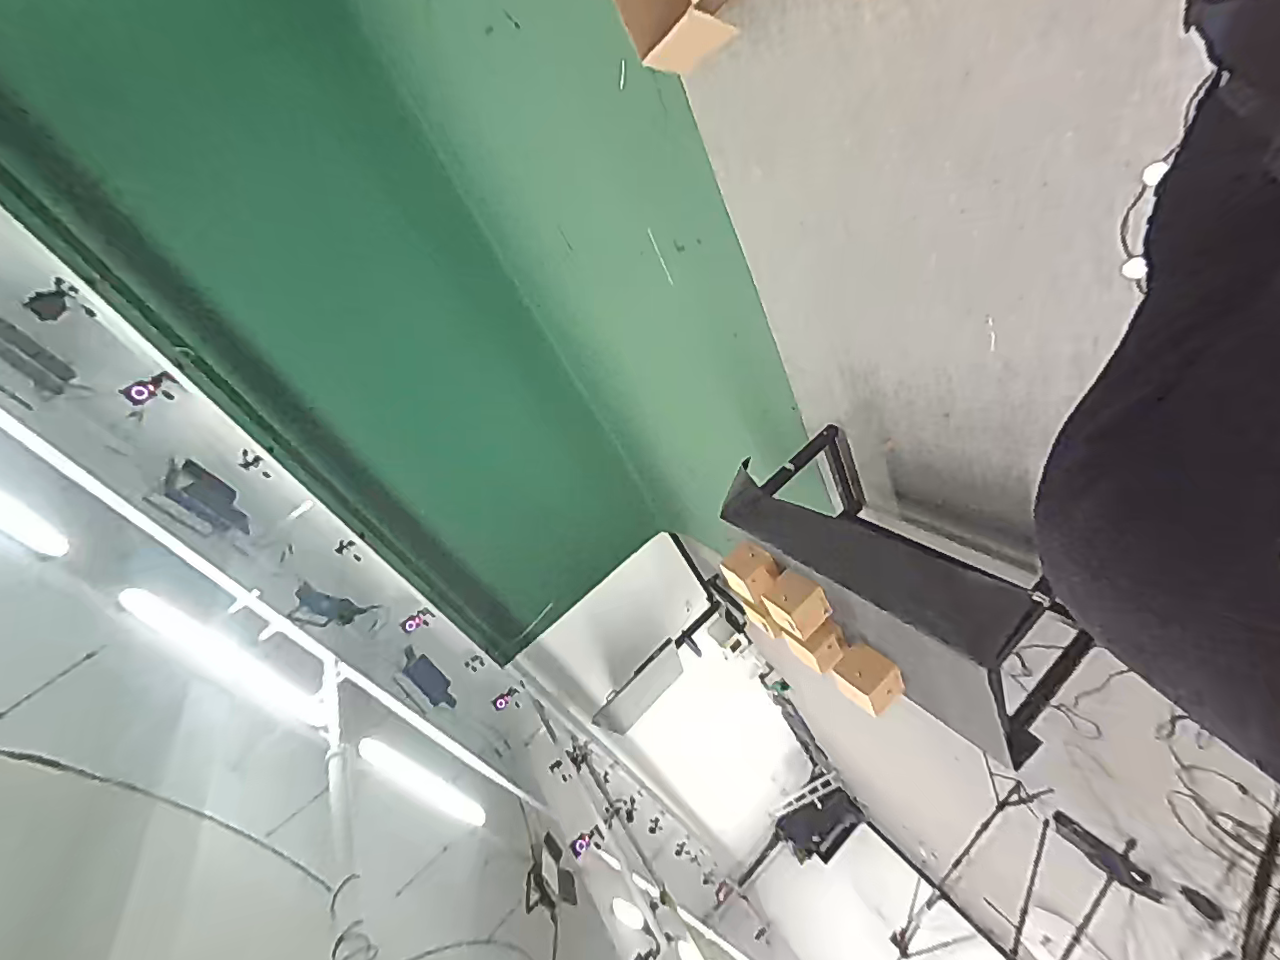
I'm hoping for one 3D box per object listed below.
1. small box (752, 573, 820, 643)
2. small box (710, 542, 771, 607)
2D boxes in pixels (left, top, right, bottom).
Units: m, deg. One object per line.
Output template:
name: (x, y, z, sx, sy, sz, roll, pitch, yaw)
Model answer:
small box: (0.580, 0.496, 2.124, 0.179, 0.176, 0.168, 28, 154, 57)
small box: (0.439, 0.404, 2.324, 0.168, 0.176, 0.179, 31, 157, 51)
